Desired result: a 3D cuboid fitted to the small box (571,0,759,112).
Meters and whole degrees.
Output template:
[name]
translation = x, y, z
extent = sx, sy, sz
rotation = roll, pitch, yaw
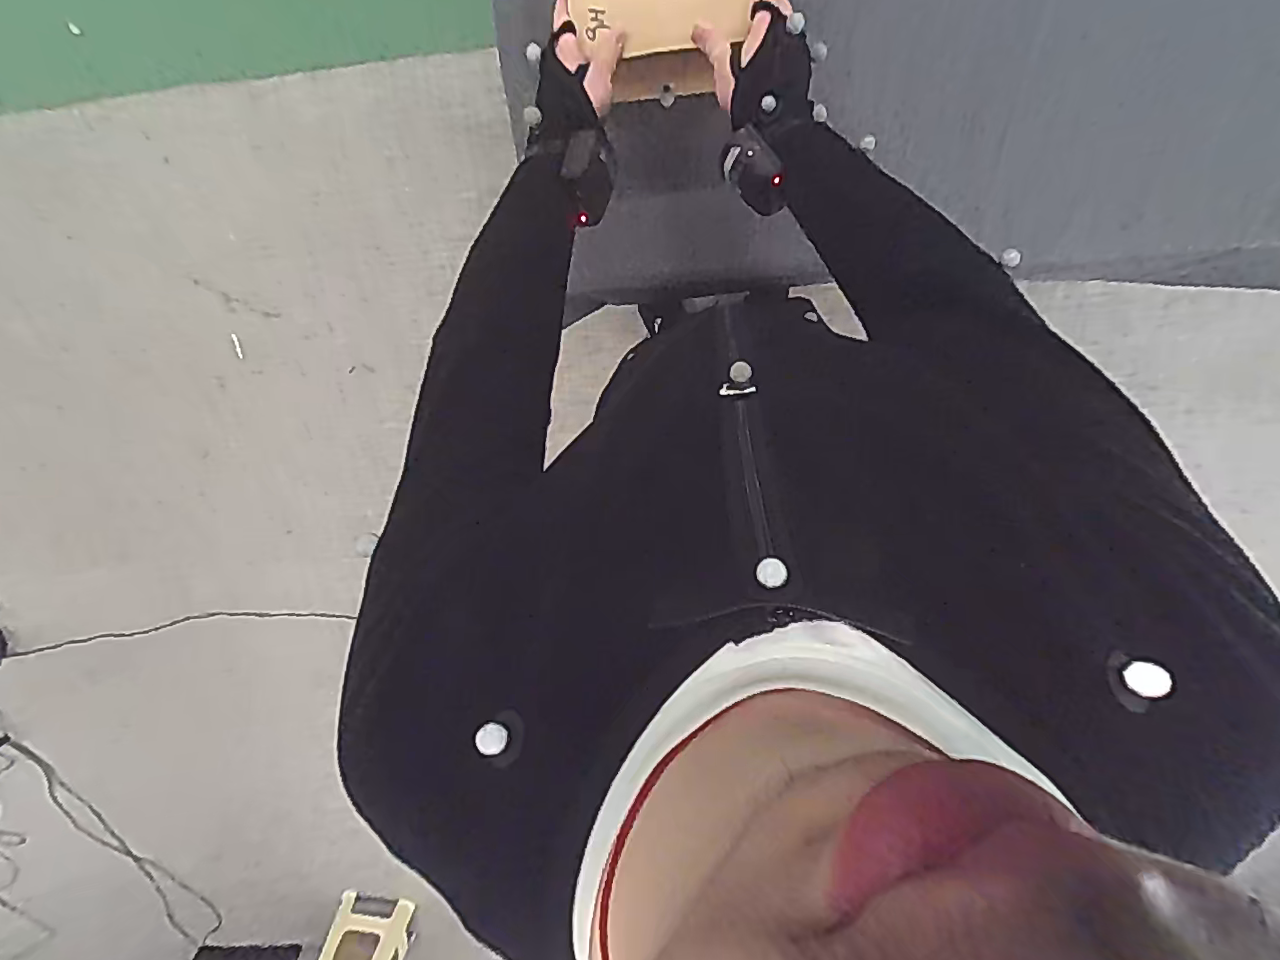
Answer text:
[small box]
translation = 0.022, -0.503, 0.562
extent = 0.179, 0.176, 0.168
rotation = -4, 113, 4
